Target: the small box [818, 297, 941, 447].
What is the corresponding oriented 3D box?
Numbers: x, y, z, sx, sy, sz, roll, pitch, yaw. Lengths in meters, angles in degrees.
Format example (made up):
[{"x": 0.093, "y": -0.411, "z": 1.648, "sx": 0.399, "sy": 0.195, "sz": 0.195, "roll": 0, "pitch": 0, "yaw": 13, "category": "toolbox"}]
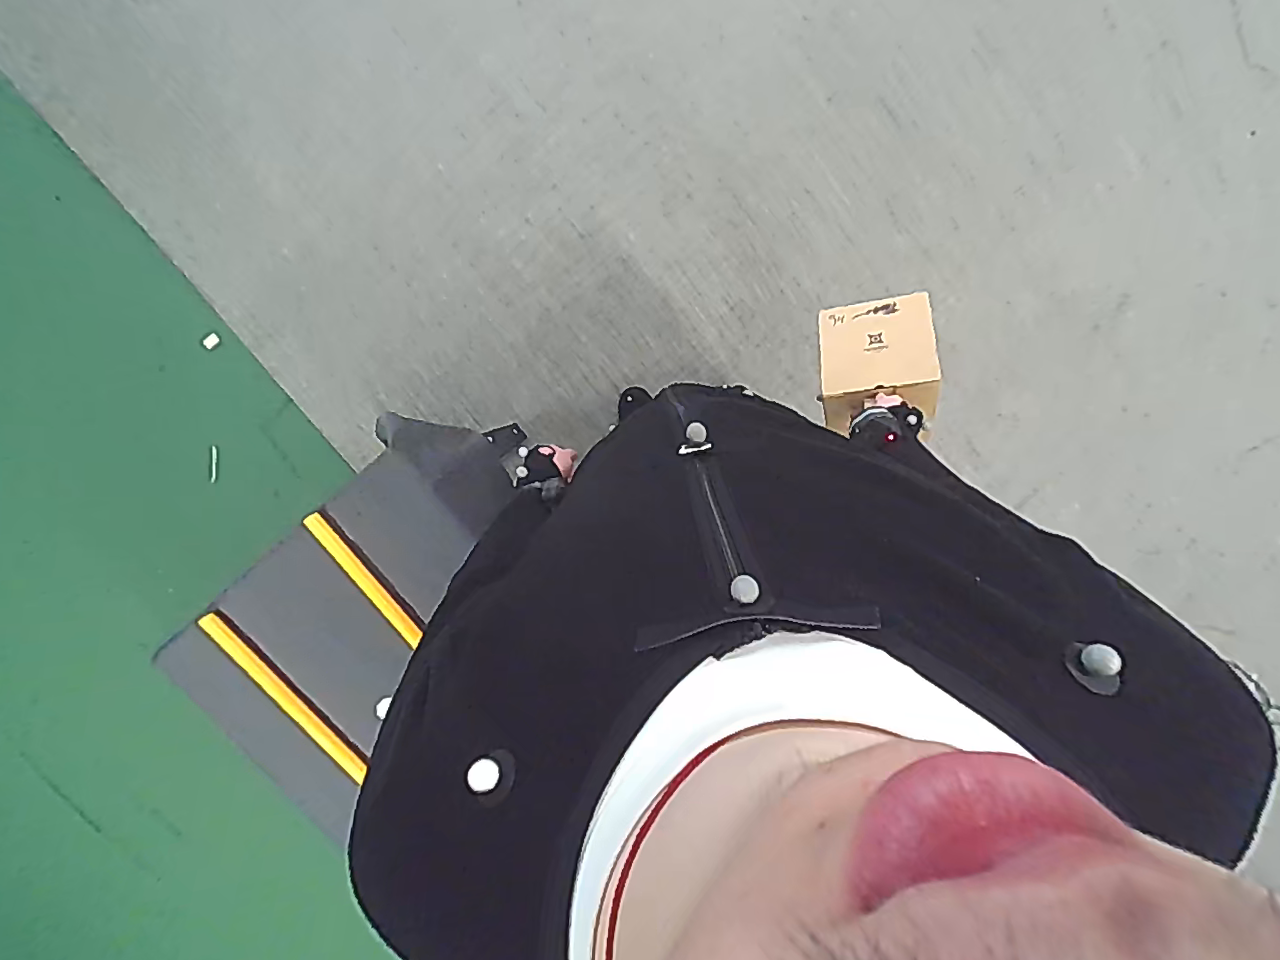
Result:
[{"x": 0.400, "y": -0.168, "z": 0.908, "sx": 0.168, "sy": 0.176, "sz": 0.179, "roll": -7, "pitch": 61, "yaw": 23, "category": "small box"}]
